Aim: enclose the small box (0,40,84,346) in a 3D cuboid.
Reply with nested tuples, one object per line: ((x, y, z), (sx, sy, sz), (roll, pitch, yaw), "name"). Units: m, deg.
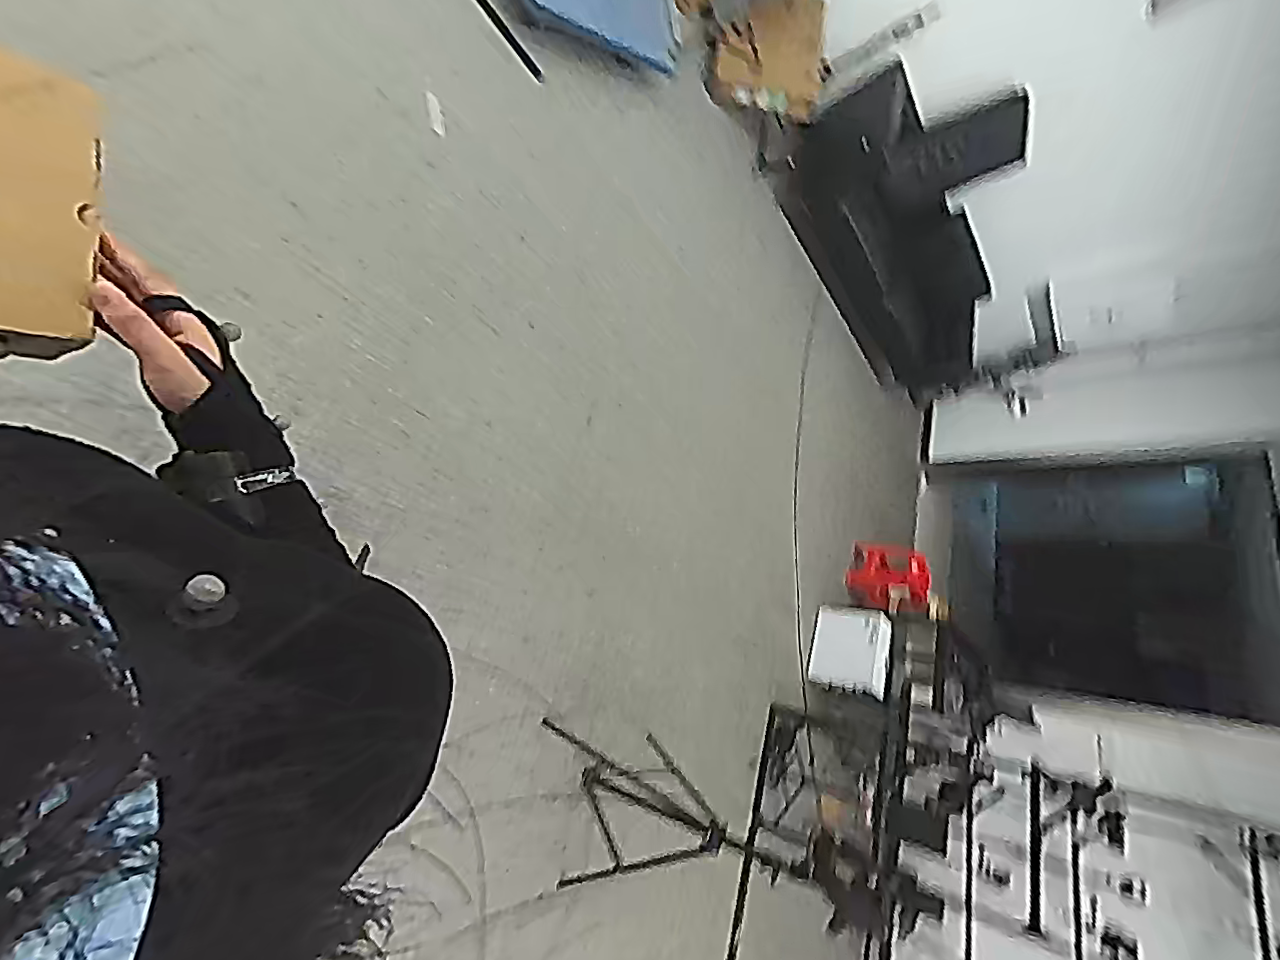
((-0.473, -0.180, 0.321), (0.179, 0.176, 0.168), (-1, 95, -56), "small box")
